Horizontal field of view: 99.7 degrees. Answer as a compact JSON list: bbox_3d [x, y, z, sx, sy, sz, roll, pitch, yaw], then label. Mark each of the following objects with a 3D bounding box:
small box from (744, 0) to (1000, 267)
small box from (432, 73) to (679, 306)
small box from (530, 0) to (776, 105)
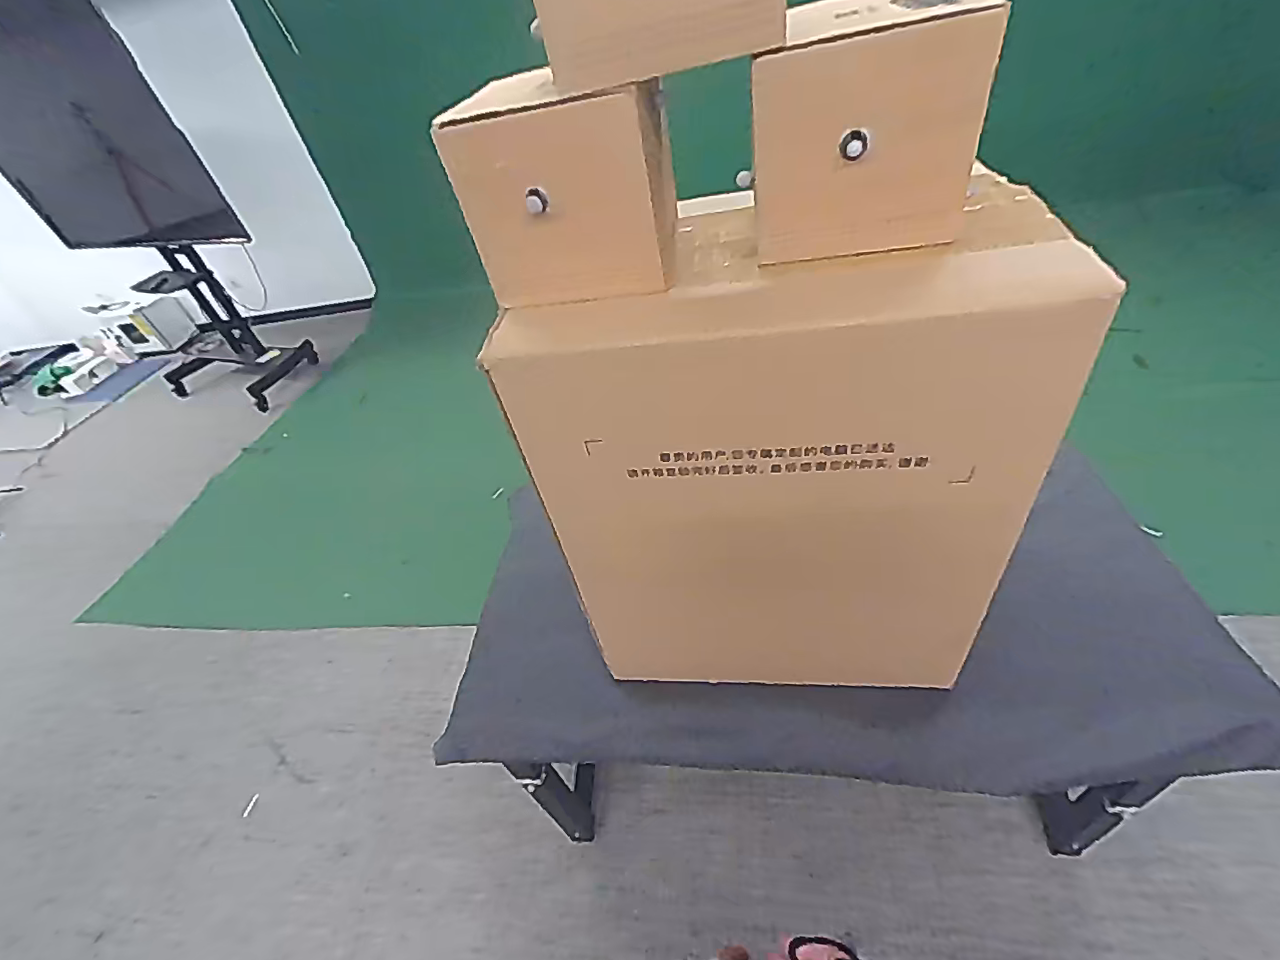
[{"bbox_3d":[0.189,-0.319,0.496,0.179,0.176,0.168,-2,47,14],"label":"small box"},{"bbox_3d":[-0.064,-0.289,0.537,0.179,0.176,0.168,-2,47,13],"label":"small box"},{"bbox_3d":[0.003,-0.411,0.406,0.179,0.176,0.168,-10,44,6],"label":"small box"}]
